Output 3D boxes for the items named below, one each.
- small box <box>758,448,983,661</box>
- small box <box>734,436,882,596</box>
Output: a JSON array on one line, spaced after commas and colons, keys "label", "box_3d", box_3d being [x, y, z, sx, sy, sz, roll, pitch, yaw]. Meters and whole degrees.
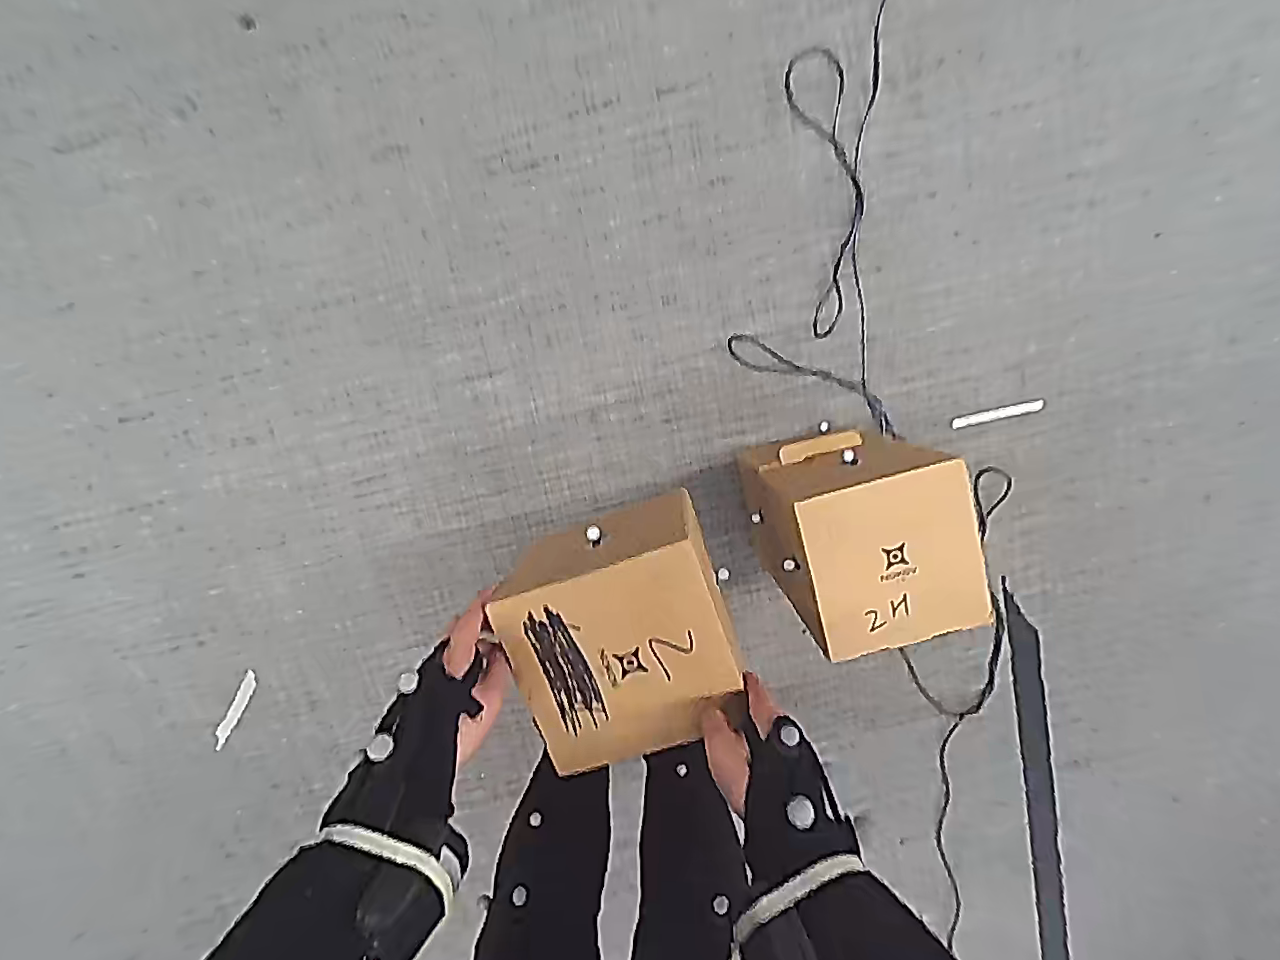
[{"label": "small box", "box_3d": [0.242, 0.068, 0.605, 0.168, 0.176, 0.179, -15, 100, 3]}, {"label": "small box", "box_3d": [0.240, 0.038, 0.768, 0.168, 0.176, 0.179, -13, 101, 2]}]
